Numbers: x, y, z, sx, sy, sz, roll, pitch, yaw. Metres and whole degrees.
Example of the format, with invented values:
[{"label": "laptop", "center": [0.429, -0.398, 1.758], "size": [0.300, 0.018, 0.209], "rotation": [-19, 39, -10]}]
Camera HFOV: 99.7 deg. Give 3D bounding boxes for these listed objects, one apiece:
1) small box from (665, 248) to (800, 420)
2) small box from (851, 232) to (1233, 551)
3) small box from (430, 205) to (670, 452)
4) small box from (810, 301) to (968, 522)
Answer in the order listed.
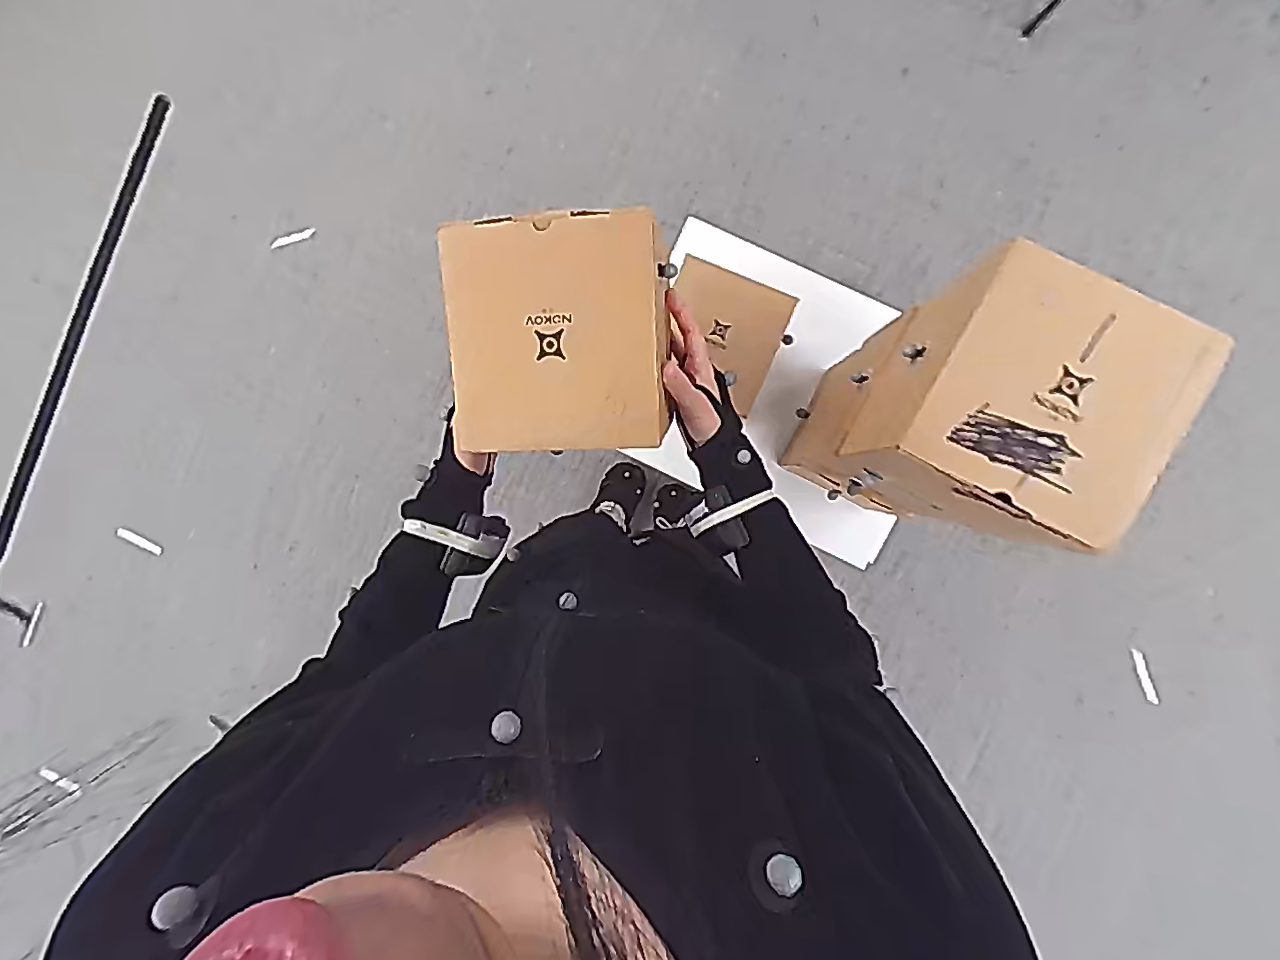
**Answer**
[{"label": "small box", "center": [0.109, -0.201, 0.798], "size": [0.168, 0.176, 0.179], "rotation": [24, 94, 3]}, {"label": "small box", "center": [0.304, -0.063, 0.461], "size": [0.168, 0.176, 0.179], "rotation": [29, 92, 4]}, {"label": "small box", "center": [-0.062, -0.127, 0.488], "size": [0.168, 0.176, 0.179], "rotation": [-2, 102, 7]}, {"label": "small box", "center": [0.318, -0.071, 0.625], "size": [0.168, 0.176, 0.179], "rotation": [28, 94, 4]}]
